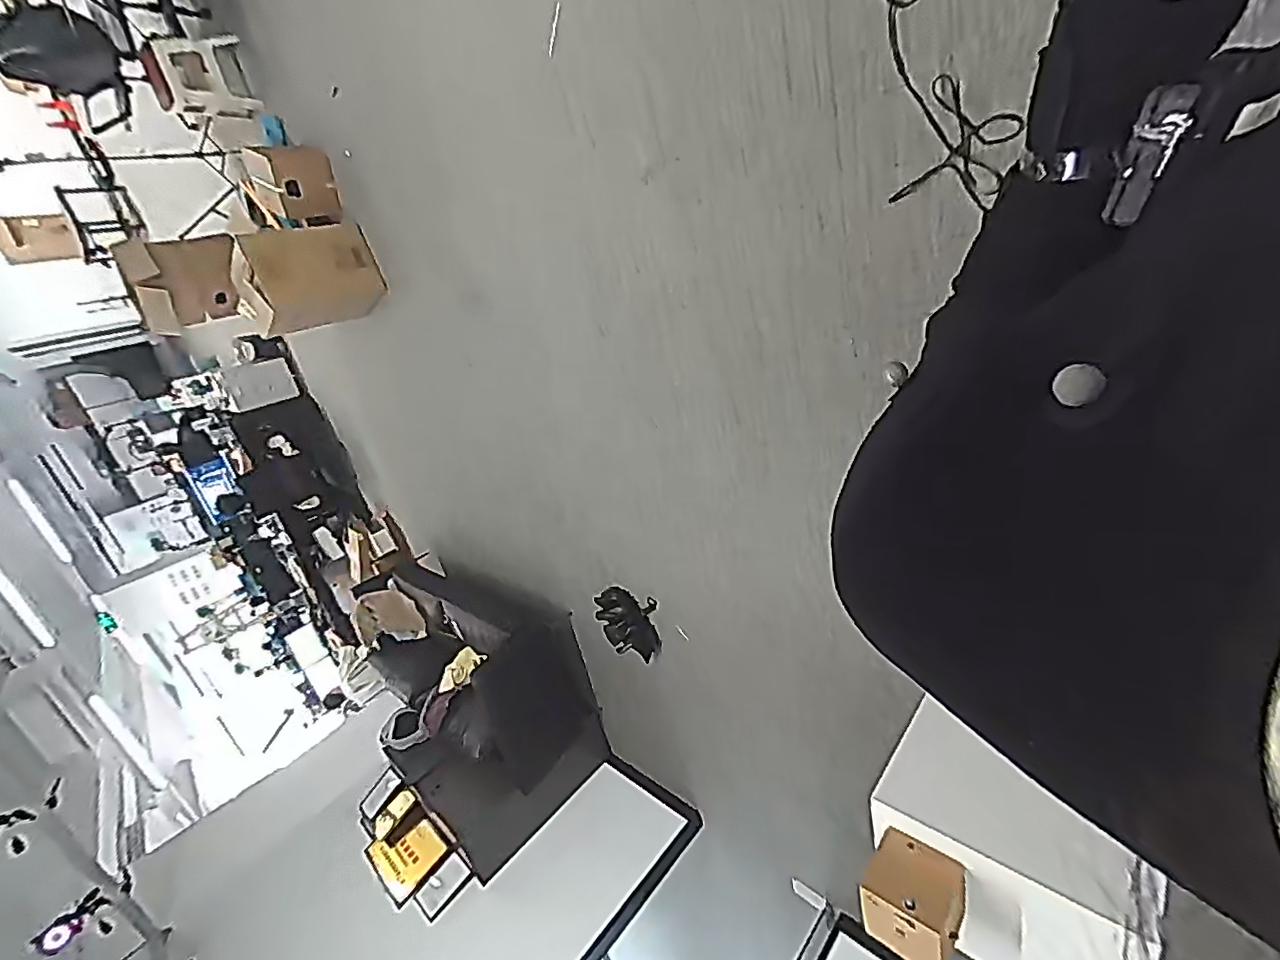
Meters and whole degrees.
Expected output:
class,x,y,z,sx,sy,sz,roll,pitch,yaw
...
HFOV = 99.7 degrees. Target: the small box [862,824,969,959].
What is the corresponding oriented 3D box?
class,x,y,z,sx,sy,sz,roll,pitch,yaw
small box,0.620,0.929,1.208,0.168,0.176,0.179,8,121,45
